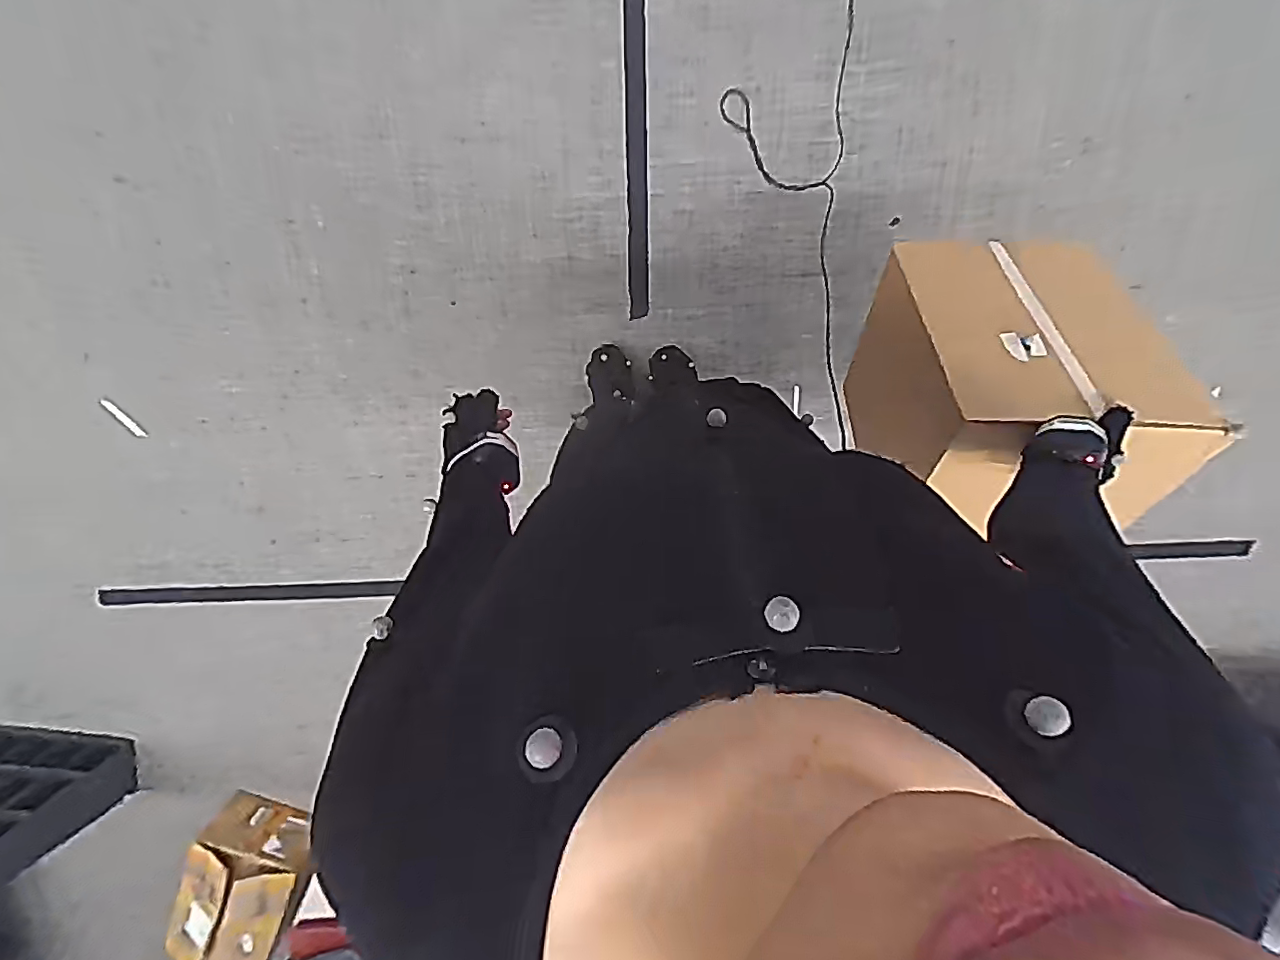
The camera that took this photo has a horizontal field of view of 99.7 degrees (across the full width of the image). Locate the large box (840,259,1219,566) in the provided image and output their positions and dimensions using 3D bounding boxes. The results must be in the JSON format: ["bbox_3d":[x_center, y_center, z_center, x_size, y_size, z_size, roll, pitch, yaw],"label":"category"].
[{"bbox_3d":[0.556,-0.112,0.892,0.320,0.408,0.320,2,143,3],"label":"large box"}]
